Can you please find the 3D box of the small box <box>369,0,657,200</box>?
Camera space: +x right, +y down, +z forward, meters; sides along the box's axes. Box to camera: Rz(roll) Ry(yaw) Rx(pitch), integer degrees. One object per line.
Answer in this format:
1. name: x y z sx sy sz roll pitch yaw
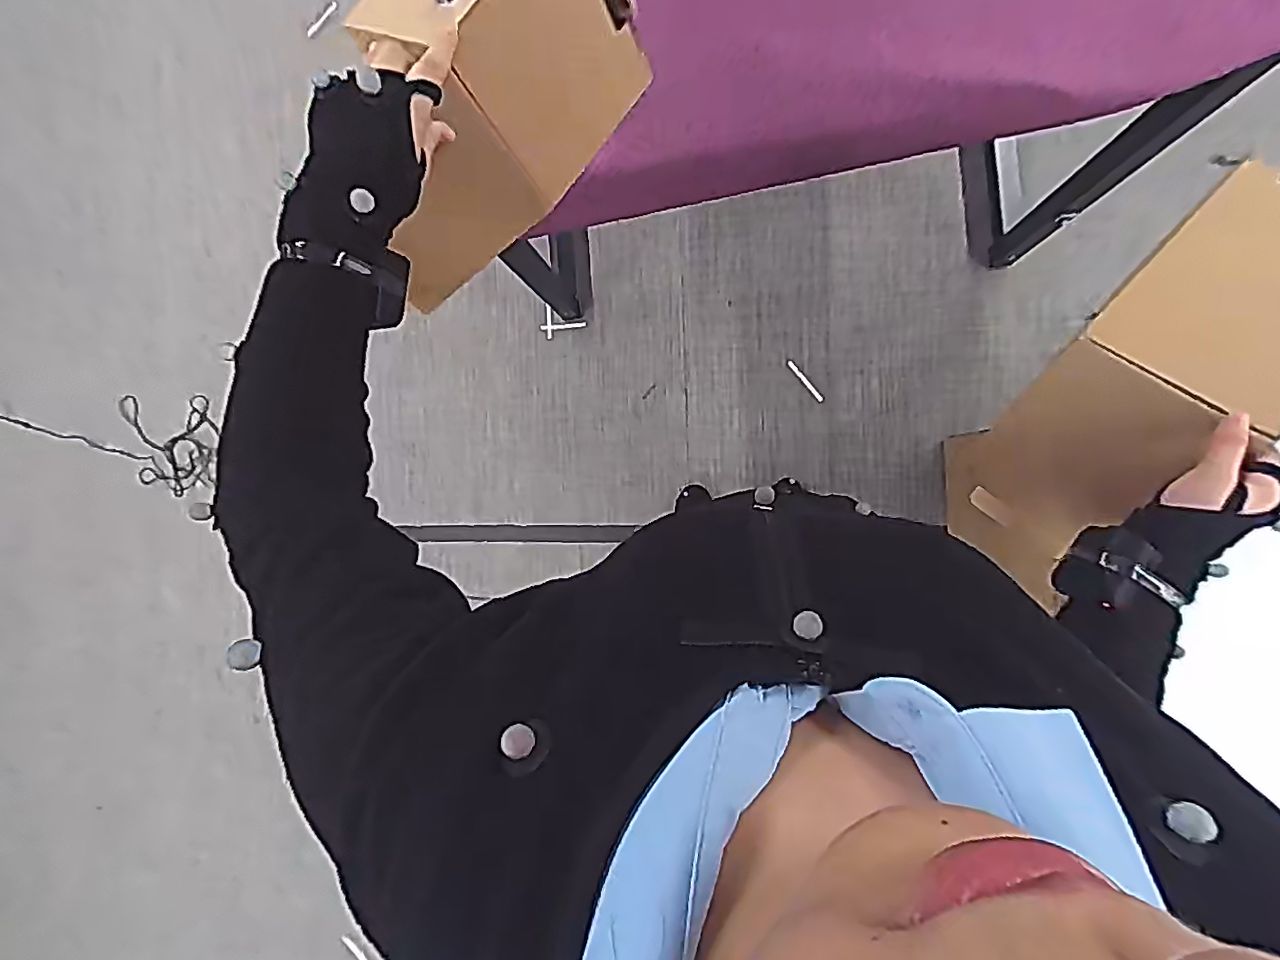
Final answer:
1. small box: -0.122 -0.411 0.513 0.176 0.168 0.179 36 89 31
